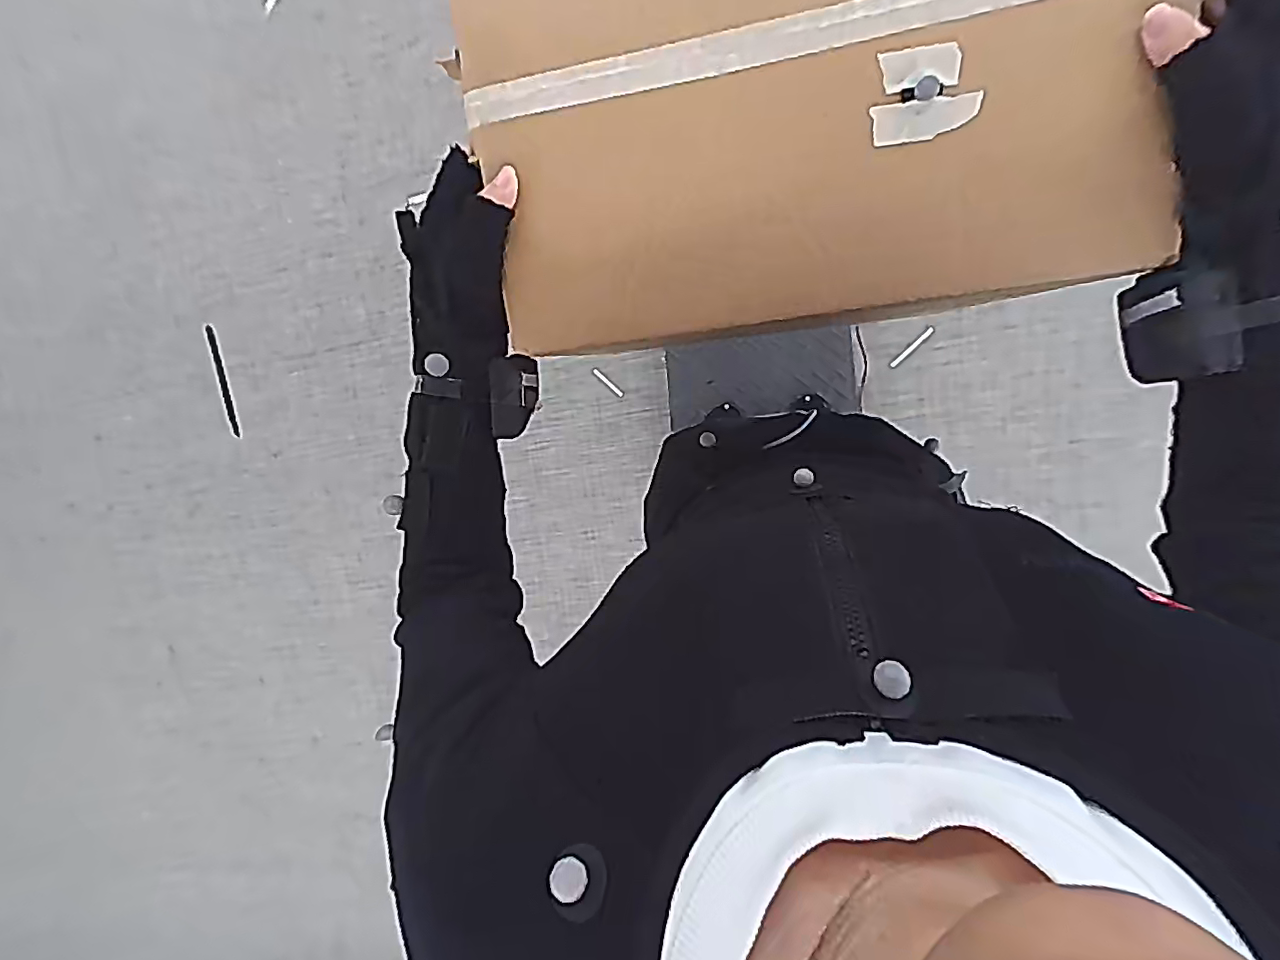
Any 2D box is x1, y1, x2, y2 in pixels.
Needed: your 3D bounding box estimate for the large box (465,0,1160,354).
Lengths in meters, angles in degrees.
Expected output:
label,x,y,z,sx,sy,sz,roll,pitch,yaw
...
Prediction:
label,x,y,z,sx,sy,sz,roll,pitch,yaw
large box,0.110,-0.296,0.473,0.408,0.320,0.320,-6,103,9
